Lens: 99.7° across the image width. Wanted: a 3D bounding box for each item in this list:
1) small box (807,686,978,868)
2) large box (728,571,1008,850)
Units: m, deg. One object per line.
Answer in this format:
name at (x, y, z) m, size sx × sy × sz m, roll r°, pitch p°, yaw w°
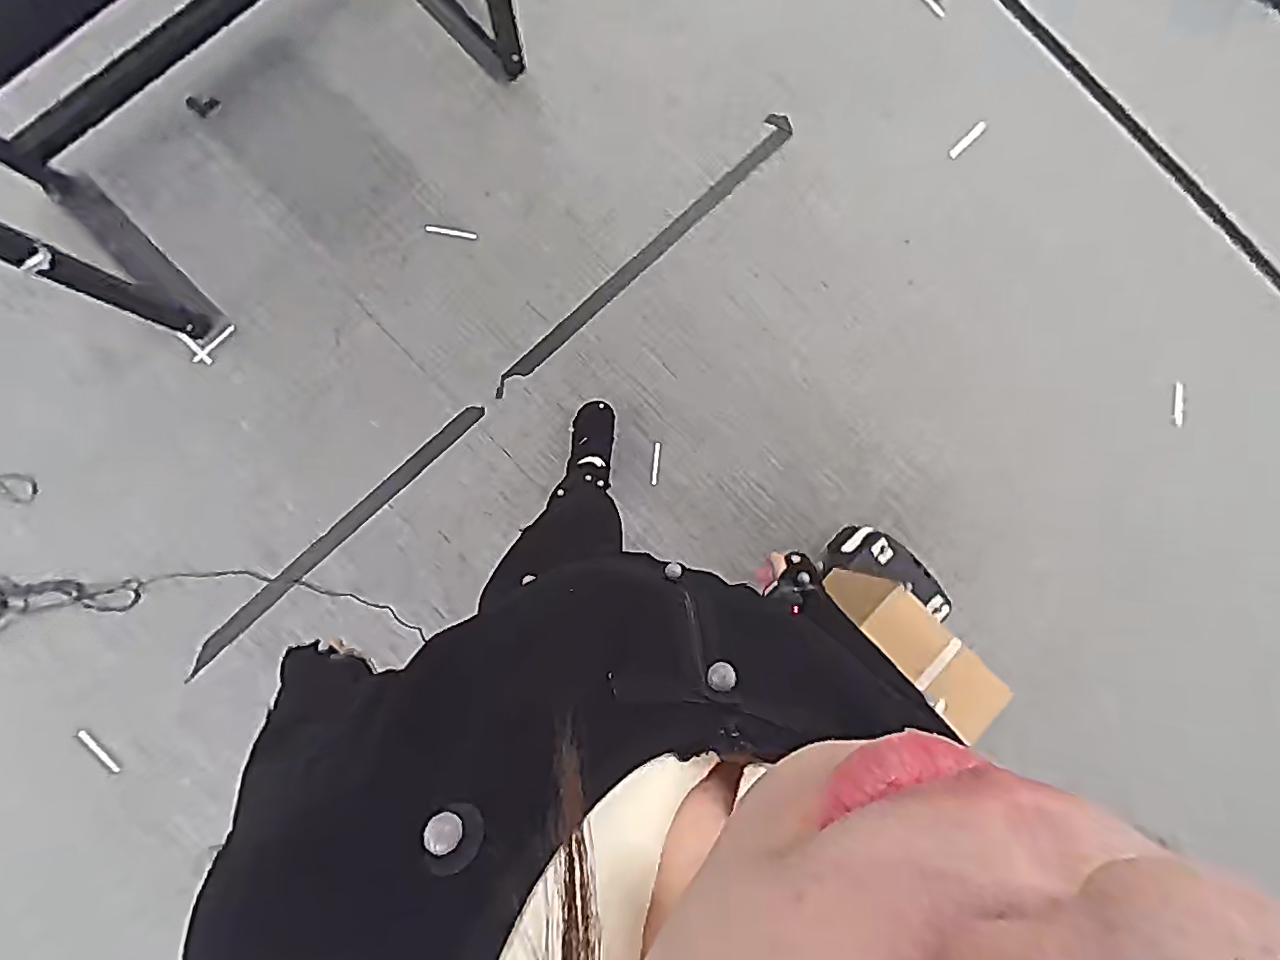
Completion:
small box at (0.409, 0.487, 0.918) m, size 0.179 × 0.176 × 0.168 m, roll -43°, pitch 89°, yaw -6°
large box at (0.457, 0.456, 1.169) m, size 0.320 × 0.320 × 0.408 m, roll 45°, pitch 84°, yaw -1°
